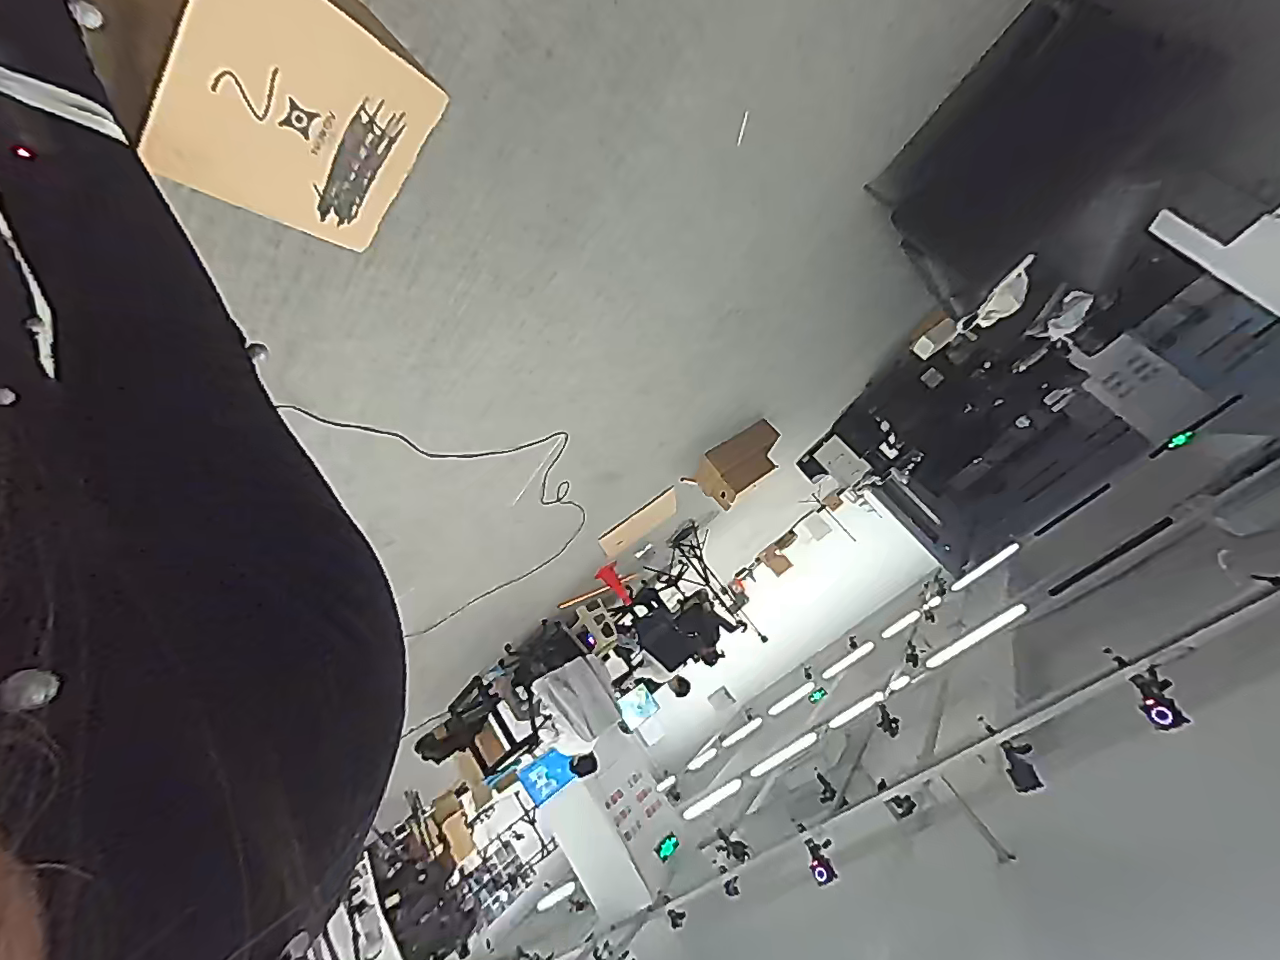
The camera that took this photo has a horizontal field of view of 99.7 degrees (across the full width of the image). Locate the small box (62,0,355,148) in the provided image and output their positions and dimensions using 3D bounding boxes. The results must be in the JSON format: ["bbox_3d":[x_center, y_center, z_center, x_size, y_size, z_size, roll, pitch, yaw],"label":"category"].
[{"bbox_3d":[-0.398,-0.460,0.487,0.179,0.176,0.168,-49,159,21],"label":"small box"}]
